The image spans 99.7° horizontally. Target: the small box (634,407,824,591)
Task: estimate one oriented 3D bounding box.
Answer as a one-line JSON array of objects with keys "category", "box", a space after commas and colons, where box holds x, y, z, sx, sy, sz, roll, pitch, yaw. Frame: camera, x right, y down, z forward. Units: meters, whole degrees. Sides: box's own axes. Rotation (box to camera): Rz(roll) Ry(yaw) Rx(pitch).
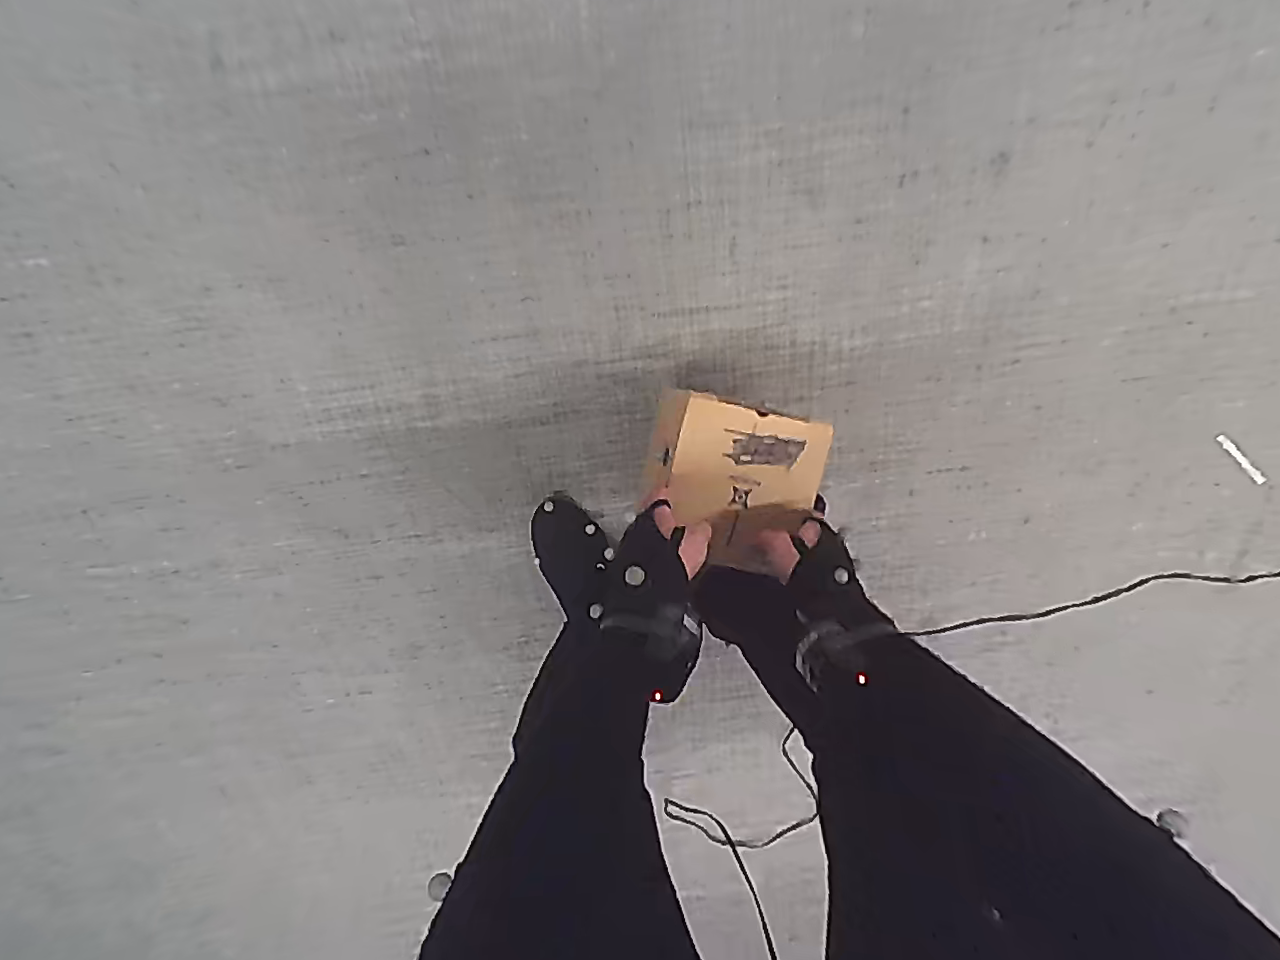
[{"category": "small box", "box": [0.093, 0.012, 0.662, 0.168, 0.176, 0.179, 12, 99, -8]}]
